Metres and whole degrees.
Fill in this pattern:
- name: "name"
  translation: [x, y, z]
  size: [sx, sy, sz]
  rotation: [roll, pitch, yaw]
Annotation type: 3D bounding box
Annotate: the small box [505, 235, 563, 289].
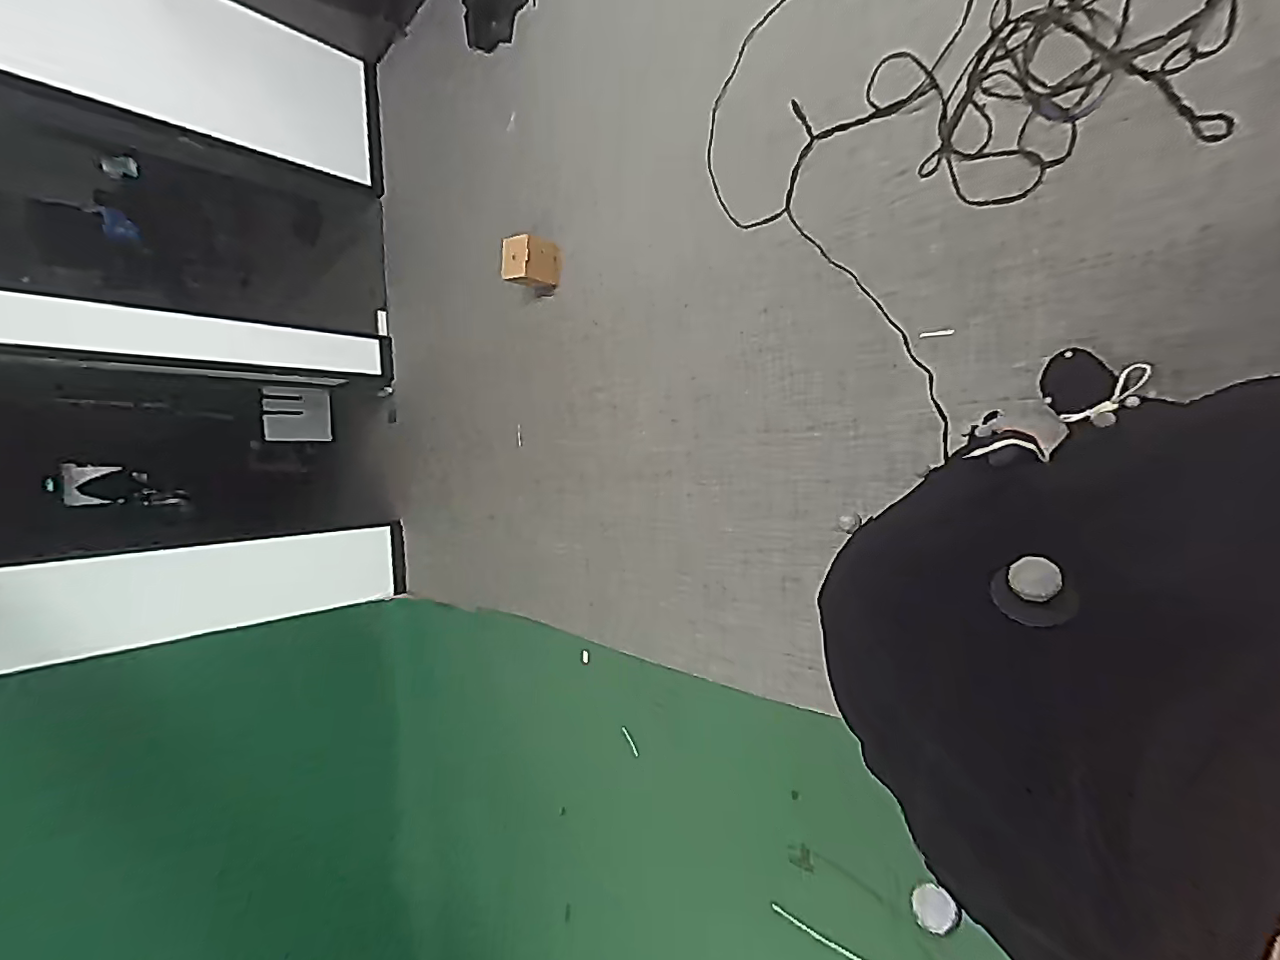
- name: "small box"
  translation: [-0.439, -0.900, 2.248]
  size: [0.179, 0.176, 0.168]
  rotation: [13, 100, 45]
